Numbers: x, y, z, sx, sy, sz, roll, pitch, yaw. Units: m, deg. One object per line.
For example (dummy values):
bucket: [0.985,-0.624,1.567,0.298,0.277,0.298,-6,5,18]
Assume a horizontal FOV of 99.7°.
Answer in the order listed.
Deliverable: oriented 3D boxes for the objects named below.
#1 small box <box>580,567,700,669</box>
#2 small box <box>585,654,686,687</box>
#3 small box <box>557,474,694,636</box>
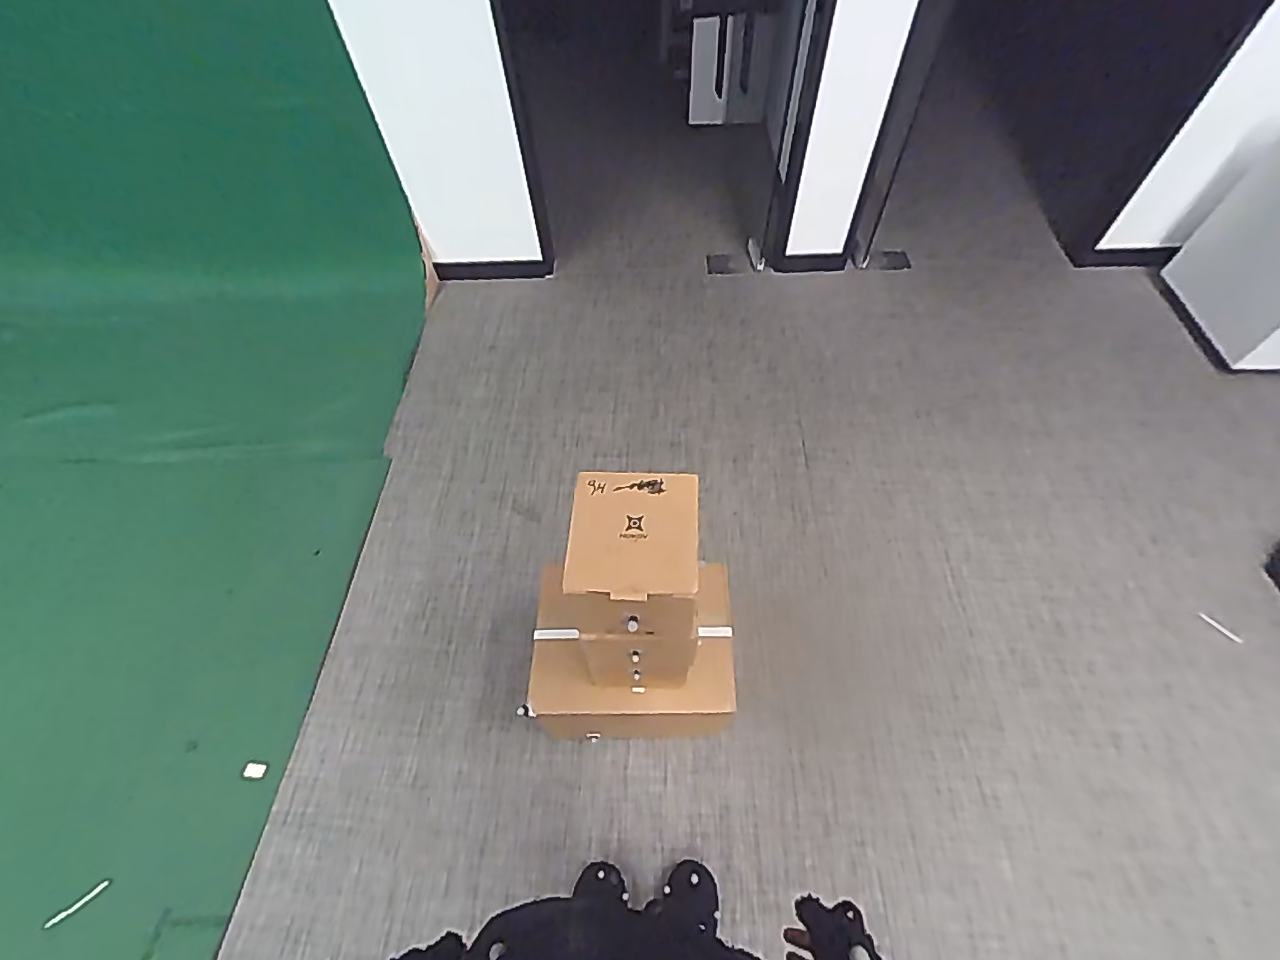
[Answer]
small box: [-0.002,0.207,0.889,0.179,0.176,0.168,-3,58,0]
small box: [-0.003,0.291,1.030,0.179,0.176,0.168,1,58,2]
small box: [-0.009,0.110,0.756,0.168,0.176,0.179,2,58,5]
